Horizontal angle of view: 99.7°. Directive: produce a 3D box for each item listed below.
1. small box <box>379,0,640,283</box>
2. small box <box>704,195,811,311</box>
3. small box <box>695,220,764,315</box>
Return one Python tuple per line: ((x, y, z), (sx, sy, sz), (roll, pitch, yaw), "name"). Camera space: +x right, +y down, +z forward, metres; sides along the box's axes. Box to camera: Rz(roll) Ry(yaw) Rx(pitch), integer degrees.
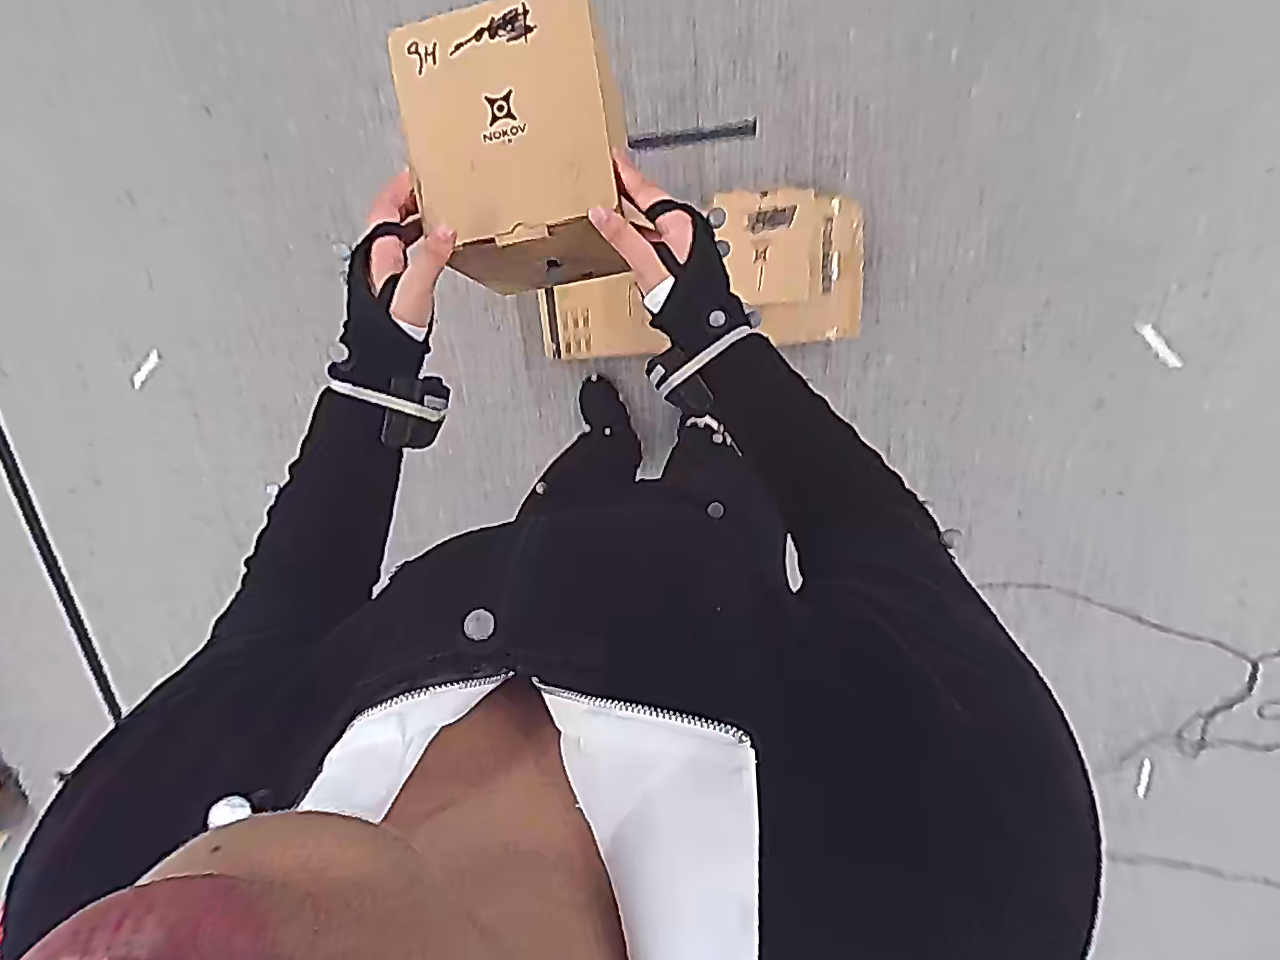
((-0.099, -0.289, 0.496), (0.168, 0.176, 0.179), (-8, 99, 8), "small box")
((0.204, -0.403, 0.984), (0.168, 0.176, 0.179), (0, 107, 4), "small box")
((0.205, -0.447, 1.142), (0.168, 0.176, 0.179), (-4, 106, 5), "small box")
